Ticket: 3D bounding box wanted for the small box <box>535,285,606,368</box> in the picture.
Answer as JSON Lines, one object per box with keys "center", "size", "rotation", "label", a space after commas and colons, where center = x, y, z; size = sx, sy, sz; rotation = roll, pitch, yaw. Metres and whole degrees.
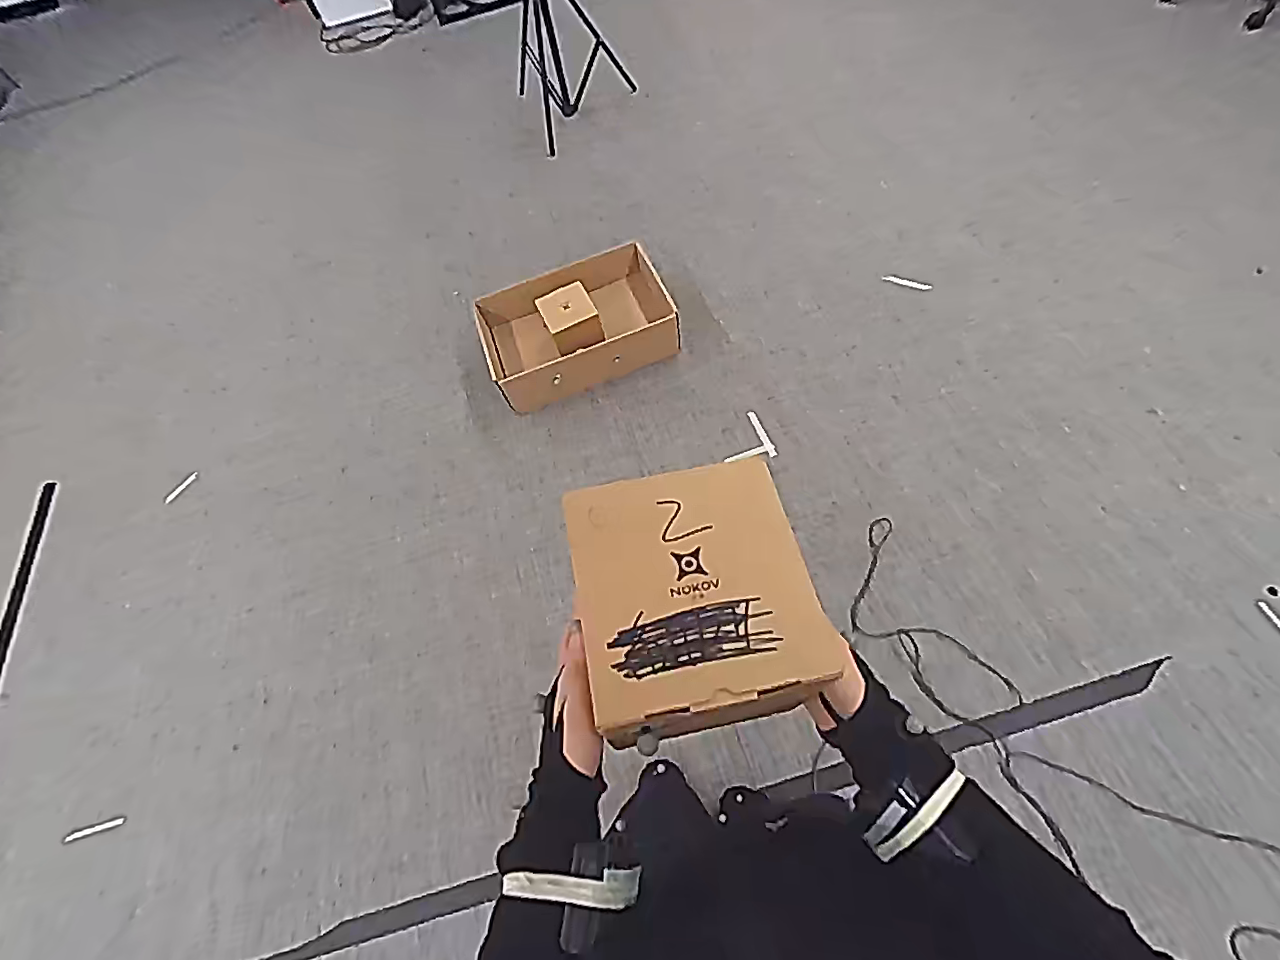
{"center": [-0.230, -0.511, 1.815], "size": [0.168, 0.176, 0.179], "rotation": [-26, 62, -5], "label": "small box"}
